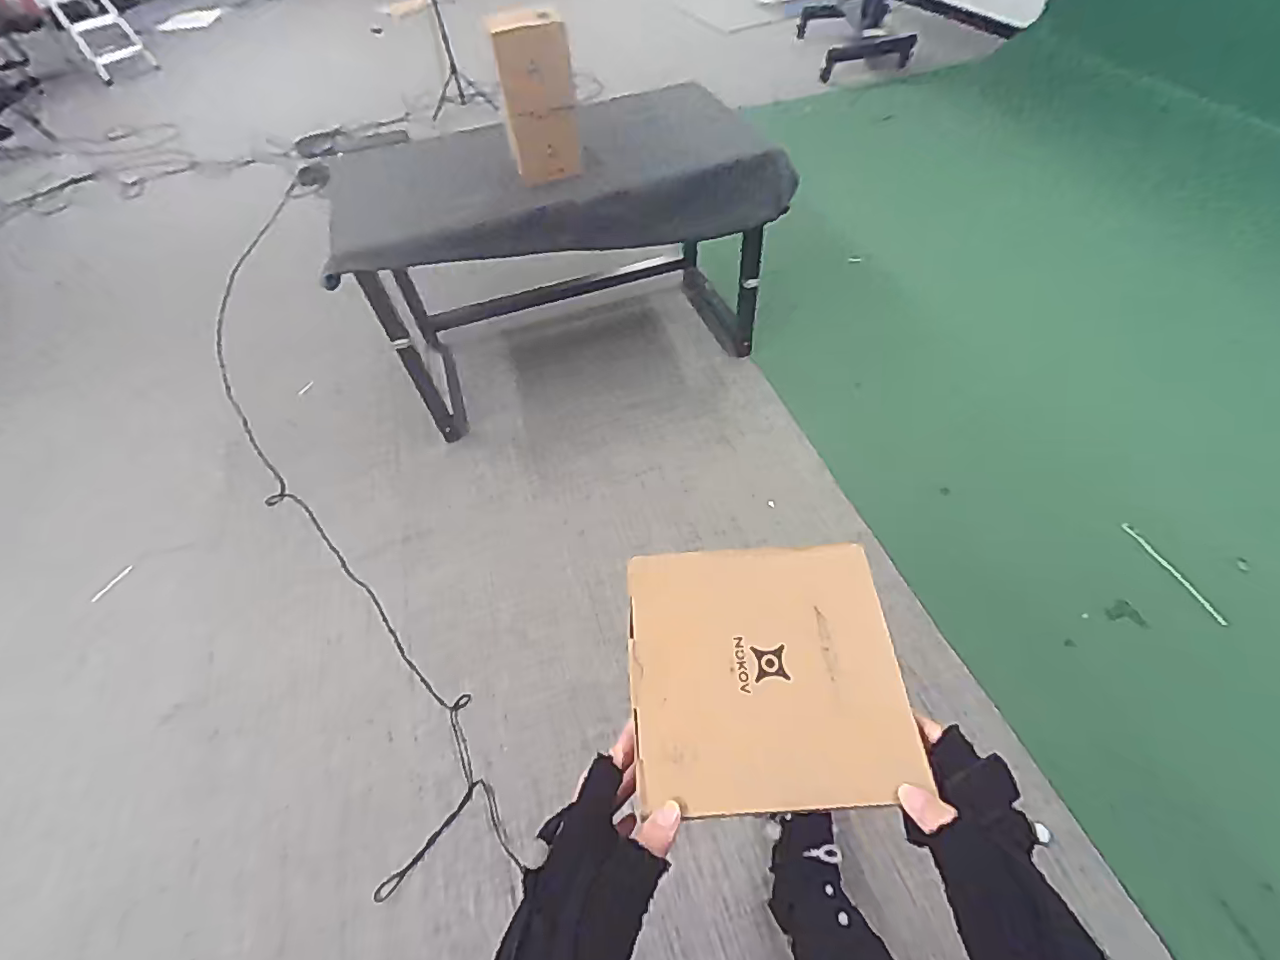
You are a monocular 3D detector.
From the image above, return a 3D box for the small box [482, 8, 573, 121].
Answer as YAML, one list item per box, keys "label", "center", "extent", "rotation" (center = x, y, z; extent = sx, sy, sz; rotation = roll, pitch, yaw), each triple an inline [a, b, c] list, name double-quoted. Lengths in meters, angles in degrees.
- label: "small box"
  center: [-0.270, -1.014, 1.324]
  extent: [0.179, 0.176, 0.168]
  rotation: [-17, 53, -5]

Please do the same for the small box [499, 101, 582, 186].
- label: "small box"
  center: [-0.263, -0.919, 1.459]
  extent: [0.168, 0.176, 0.179]
  rotation: [-18, 54, -7]

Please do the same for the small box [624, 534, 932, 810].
- label: "small box"
  center: [0.084, 0.158, 0.427]
  extent: [0.179, 0.176, 0.168]
  rotation: [-5, 59, -2]
